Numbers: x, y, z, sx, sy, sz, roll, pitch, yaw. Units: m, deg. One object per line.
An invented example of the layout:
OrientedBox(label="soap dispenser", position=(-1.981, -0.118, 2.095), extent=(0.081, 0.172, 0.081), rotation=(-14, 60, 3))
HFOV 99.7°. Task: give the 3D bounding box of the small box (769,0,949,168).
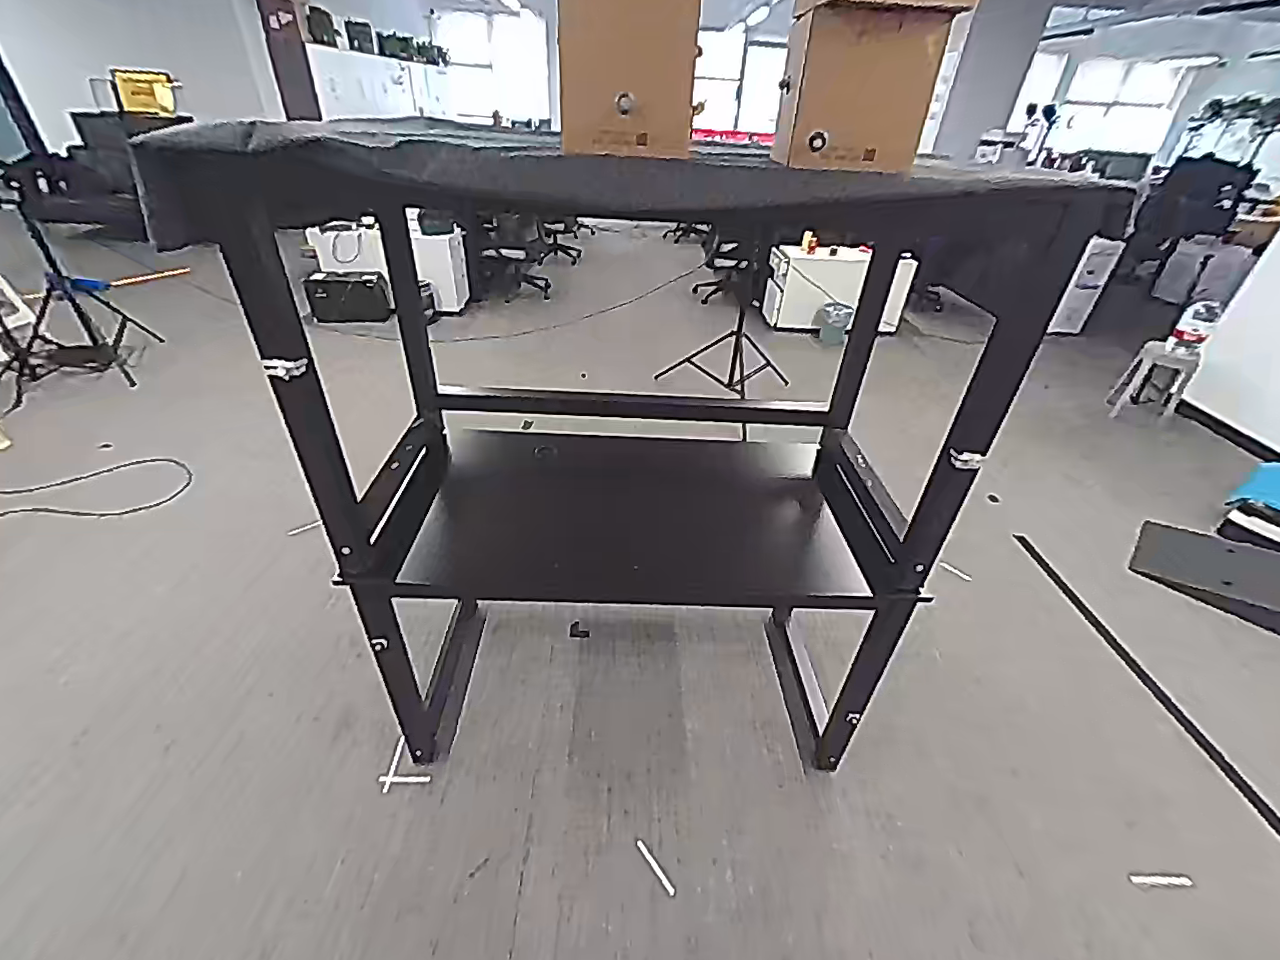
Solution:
OrientedBox(label="small box", position=(0.281, -0.529, 0.738), extent=(0.168, 0.176, 0.179), rotation=(4, 33, 1))

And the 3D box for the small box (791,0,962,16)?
OrientedBox(label="small box", position=(0.289, -0.645, 0.621), extent=(0.168, 0.176, 0.179), rotation=(2, 33, -5))

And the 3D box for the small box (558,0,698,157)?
OrientedBox(label="small box", position=(-0.018, -0.537, 0.721), extent=(0.168, 0.176, 0.179), rotation=(2, 33, -1))
